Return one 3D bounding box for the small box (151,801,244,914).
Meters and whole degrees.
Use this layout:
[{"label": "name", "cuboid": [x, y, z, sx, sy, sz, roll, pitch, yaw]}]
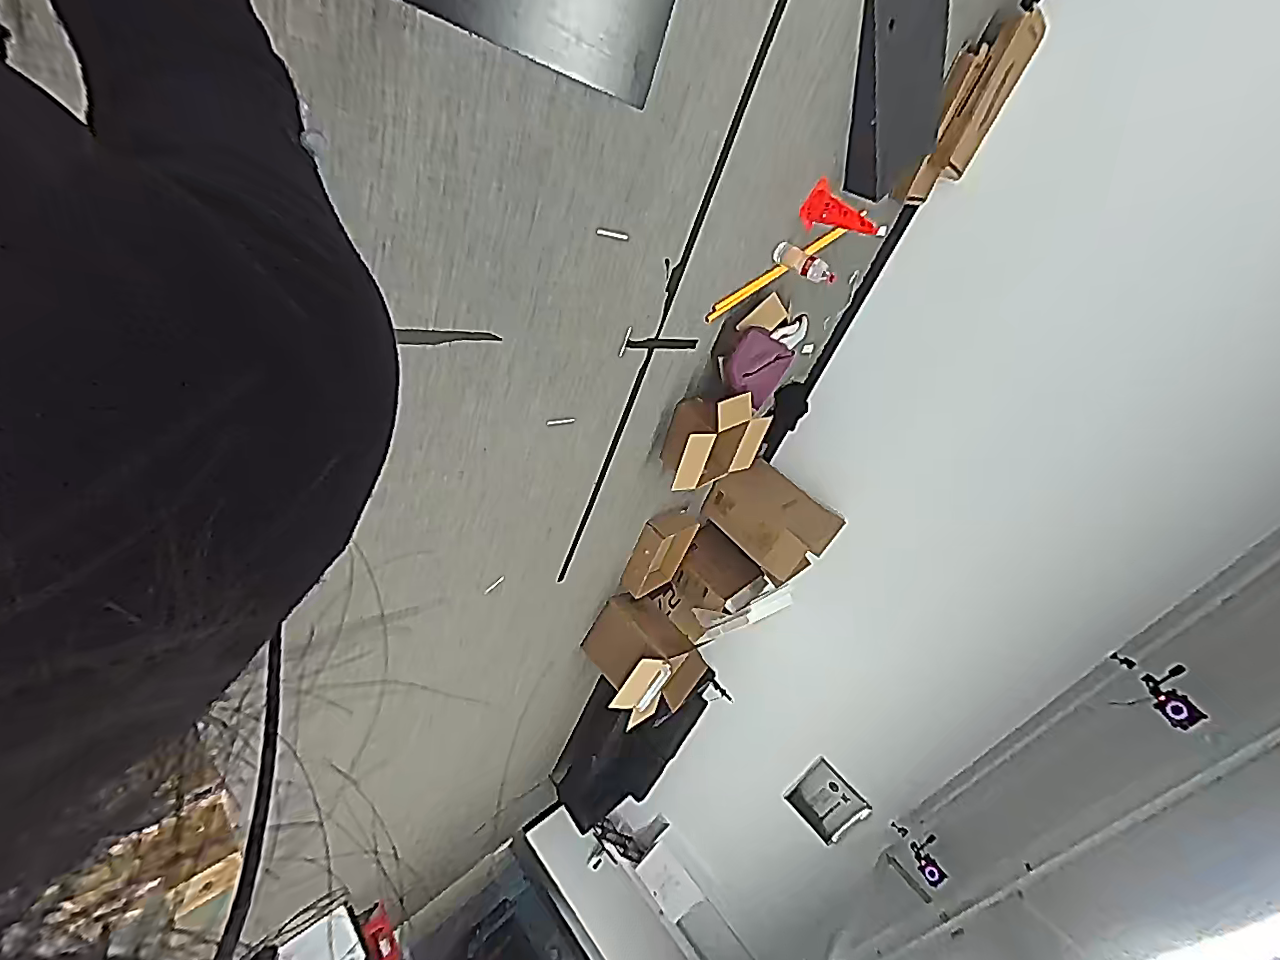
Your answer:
[{"label": "small box", "cuboid": [-1.258, 1.068, 1.542, 0.168, 0.176, 0.179, -18, 136, -47]}]
